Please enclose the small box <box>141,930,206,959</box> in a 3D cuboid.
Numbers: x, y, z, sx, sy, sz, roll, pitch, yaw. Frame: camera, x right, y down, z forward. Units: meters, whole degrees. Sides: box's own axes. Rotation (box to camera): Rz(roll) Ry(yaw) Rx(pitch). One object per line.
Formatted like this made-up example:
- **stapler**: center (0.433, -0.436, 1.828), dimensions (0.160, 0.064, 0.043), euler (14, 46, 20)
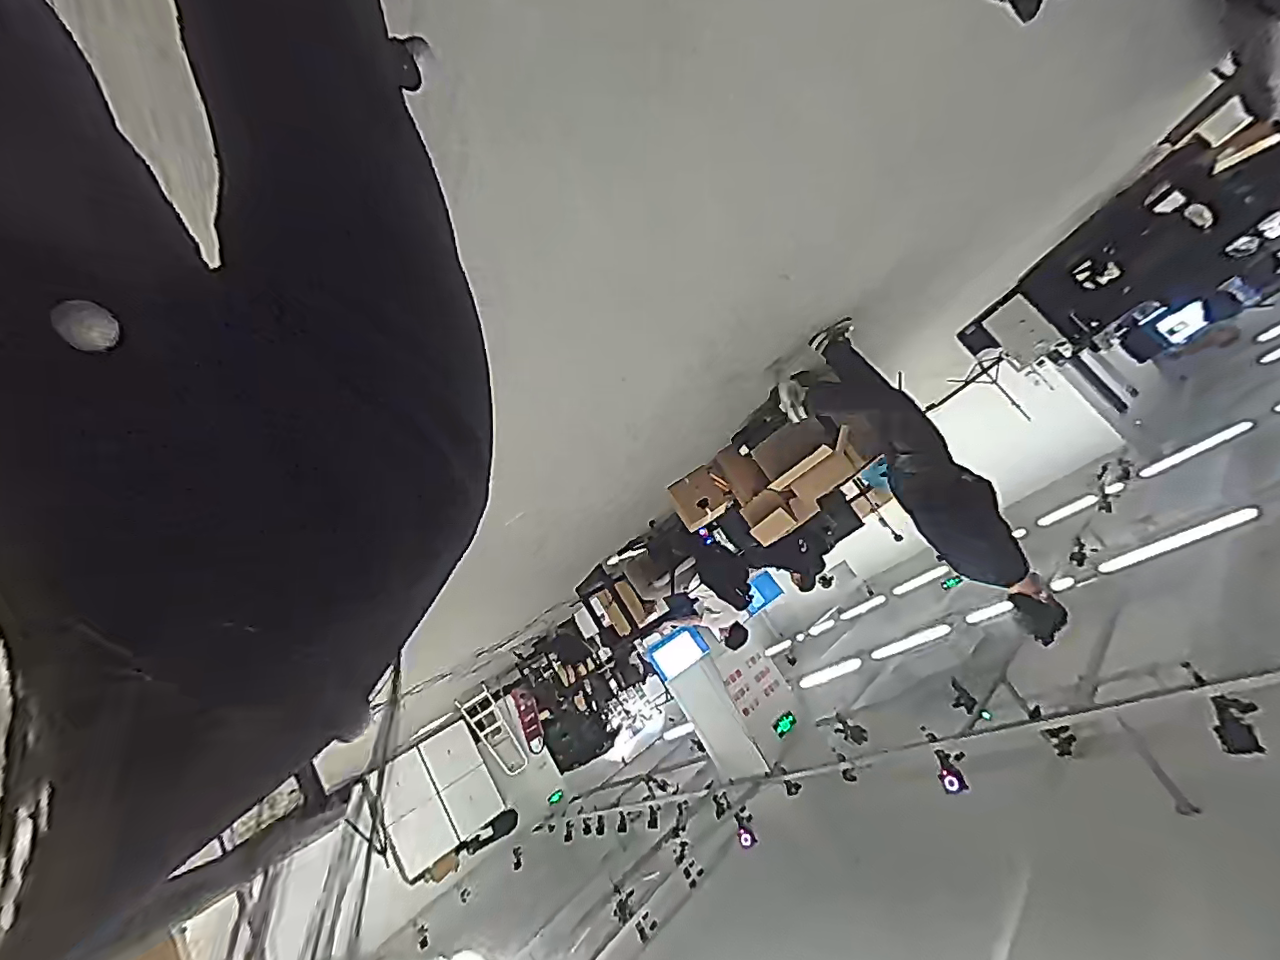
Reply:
- **small box**: center (-1.389, 1.460, 1.577), dimensions (0.179, 0.176, 0.168), euler (-21, 160, -39)
